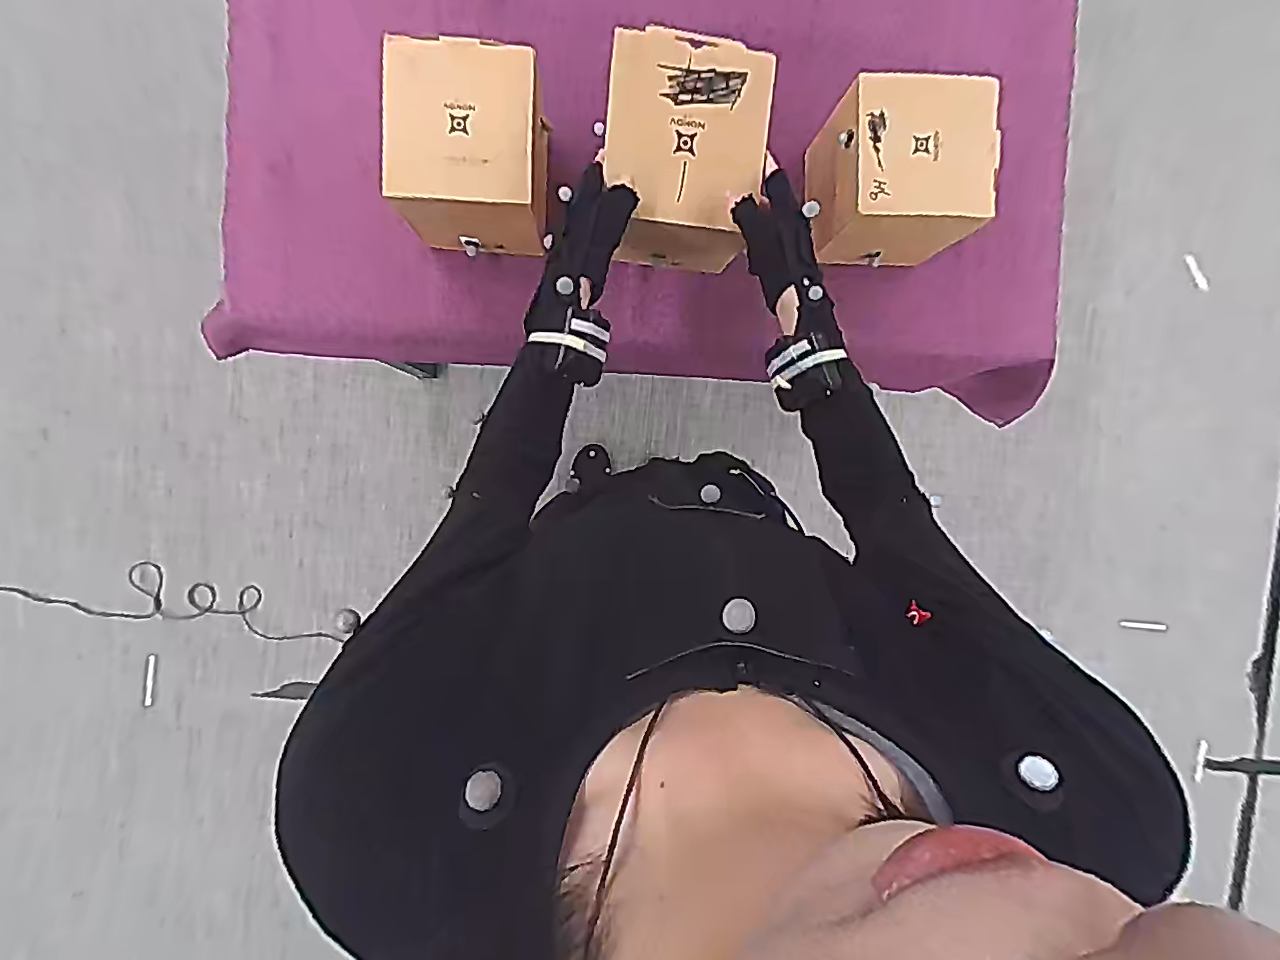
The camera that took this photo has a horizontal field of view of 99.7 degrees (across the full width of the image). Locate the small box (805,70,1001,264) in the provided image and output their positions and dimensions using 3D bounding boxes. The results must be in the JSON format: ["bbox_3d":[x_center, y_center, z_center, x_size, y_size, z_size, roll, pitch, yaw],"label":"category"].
[{"bbox_3d":[0.339,-0.401,0.723,0.179,0.176,0.168,-1,92,-5],"label":"small box"}]

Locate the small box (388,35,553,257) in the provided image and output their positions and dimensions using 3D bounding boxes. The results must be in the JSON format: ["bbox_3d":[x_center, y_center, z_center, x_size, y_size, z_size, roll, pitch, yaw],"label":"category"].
[{"bbox_3d":[-0.202,-0.402,0.680,0.168,0.176,0.179,1,93,-4],"label":"small box"}]

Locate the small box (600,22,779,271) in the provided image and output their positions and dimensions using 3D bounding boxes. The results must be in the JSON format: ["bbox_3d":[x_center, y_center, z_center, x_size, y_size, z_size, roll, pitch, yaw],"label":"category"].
[{"bbox_3d":[0.044,-0.357,0.615,0.168,0.176,0.179,5,97,-5],"label":"small box"}]
